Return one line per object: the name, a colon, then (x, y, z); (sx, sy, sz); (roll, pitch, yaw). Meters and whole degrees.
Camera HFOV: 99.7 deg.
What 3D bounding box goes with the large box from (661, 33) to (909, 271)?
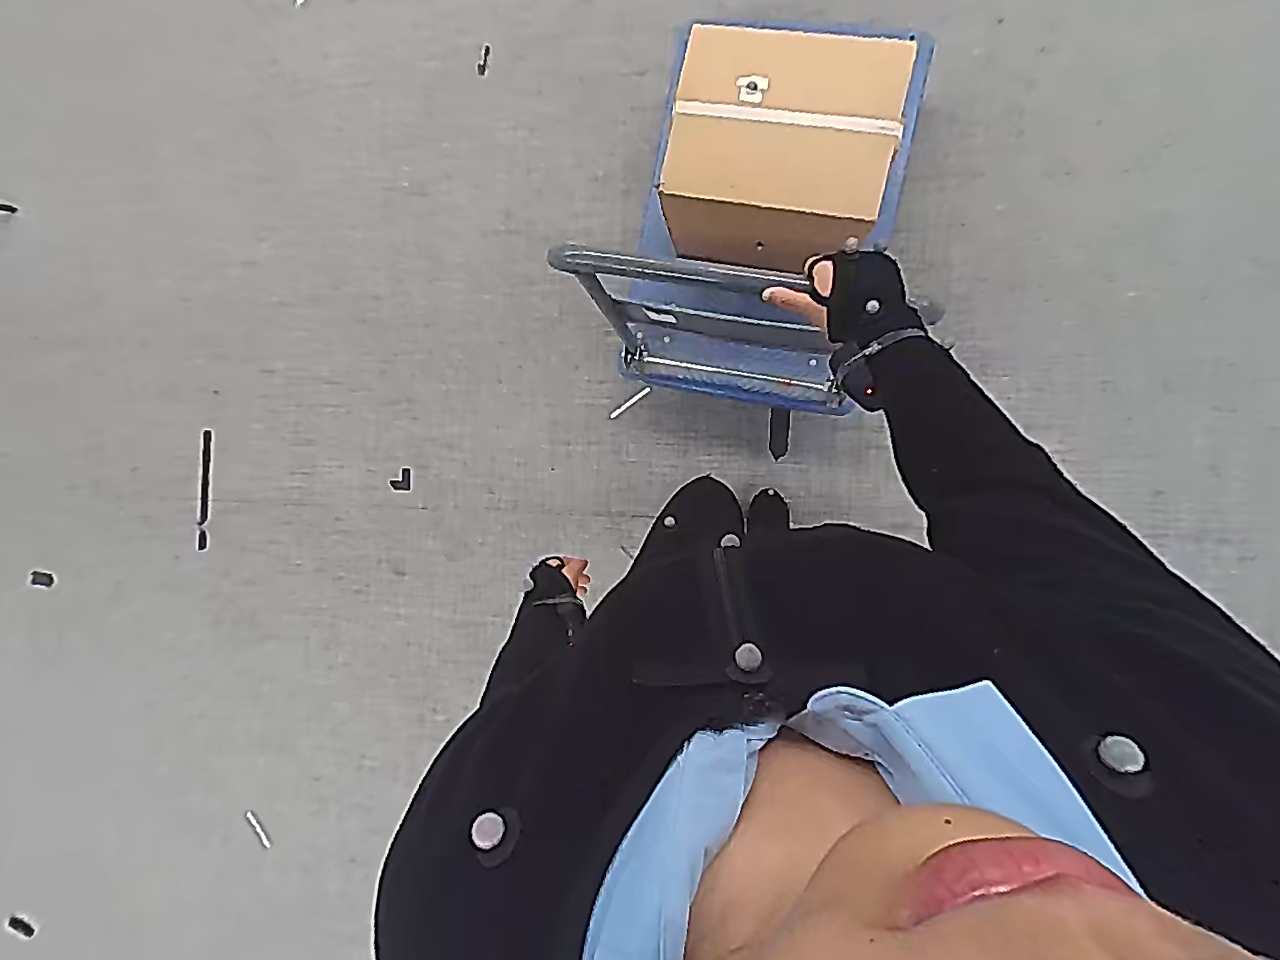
large box: (0.289, -0.664, 1.142); (0.408, 0.320, 0.320); (12, 93, 11)
